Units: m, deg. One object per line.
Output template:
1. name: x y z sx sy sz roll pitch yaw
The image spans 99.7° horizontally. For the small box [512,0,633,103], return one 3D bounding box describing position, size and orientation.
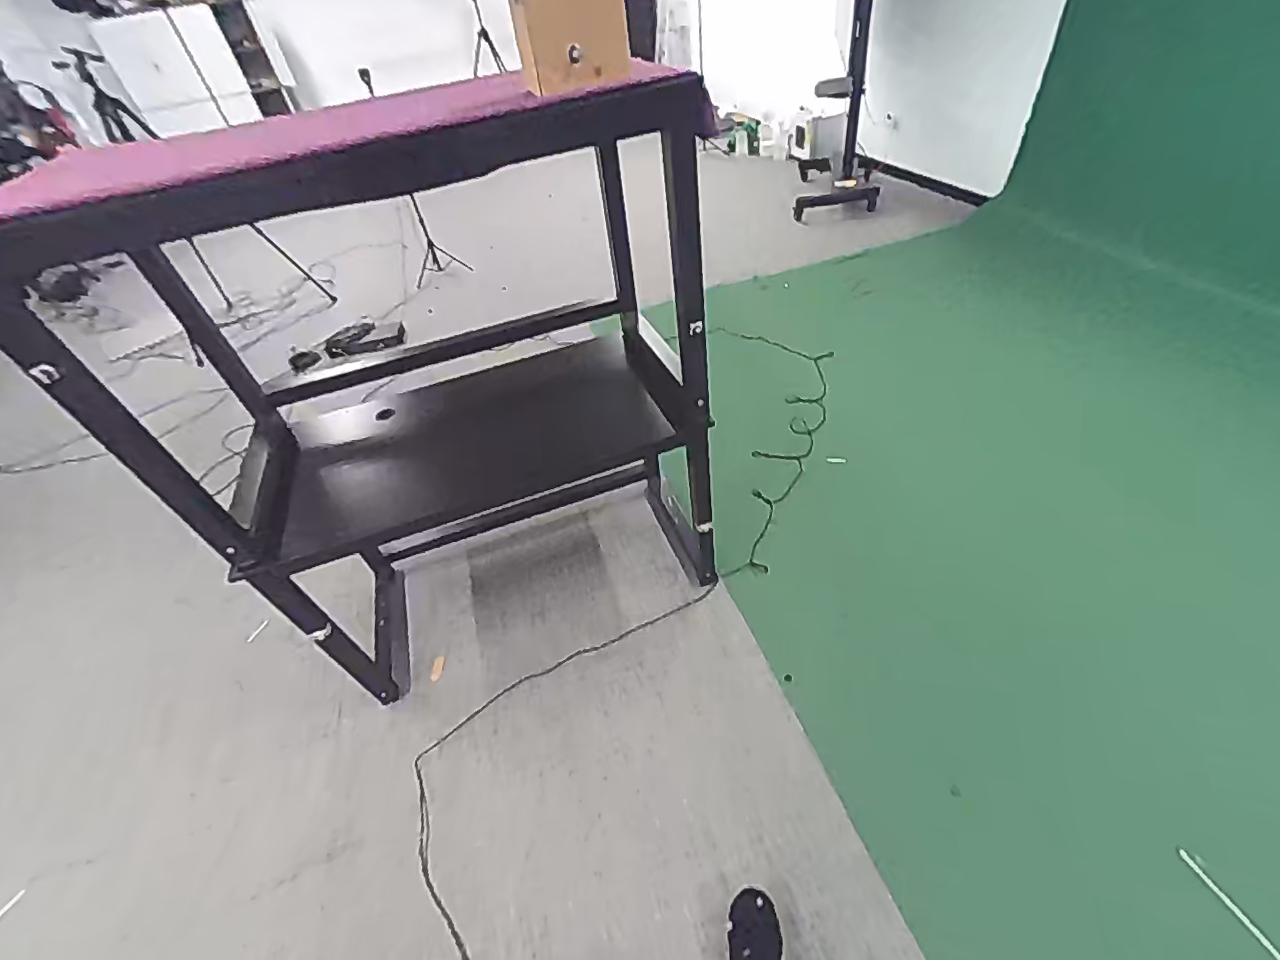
1. small box: -0.121 -0.779 0.946 0.168 0.176 0.179 -18 45 -8
